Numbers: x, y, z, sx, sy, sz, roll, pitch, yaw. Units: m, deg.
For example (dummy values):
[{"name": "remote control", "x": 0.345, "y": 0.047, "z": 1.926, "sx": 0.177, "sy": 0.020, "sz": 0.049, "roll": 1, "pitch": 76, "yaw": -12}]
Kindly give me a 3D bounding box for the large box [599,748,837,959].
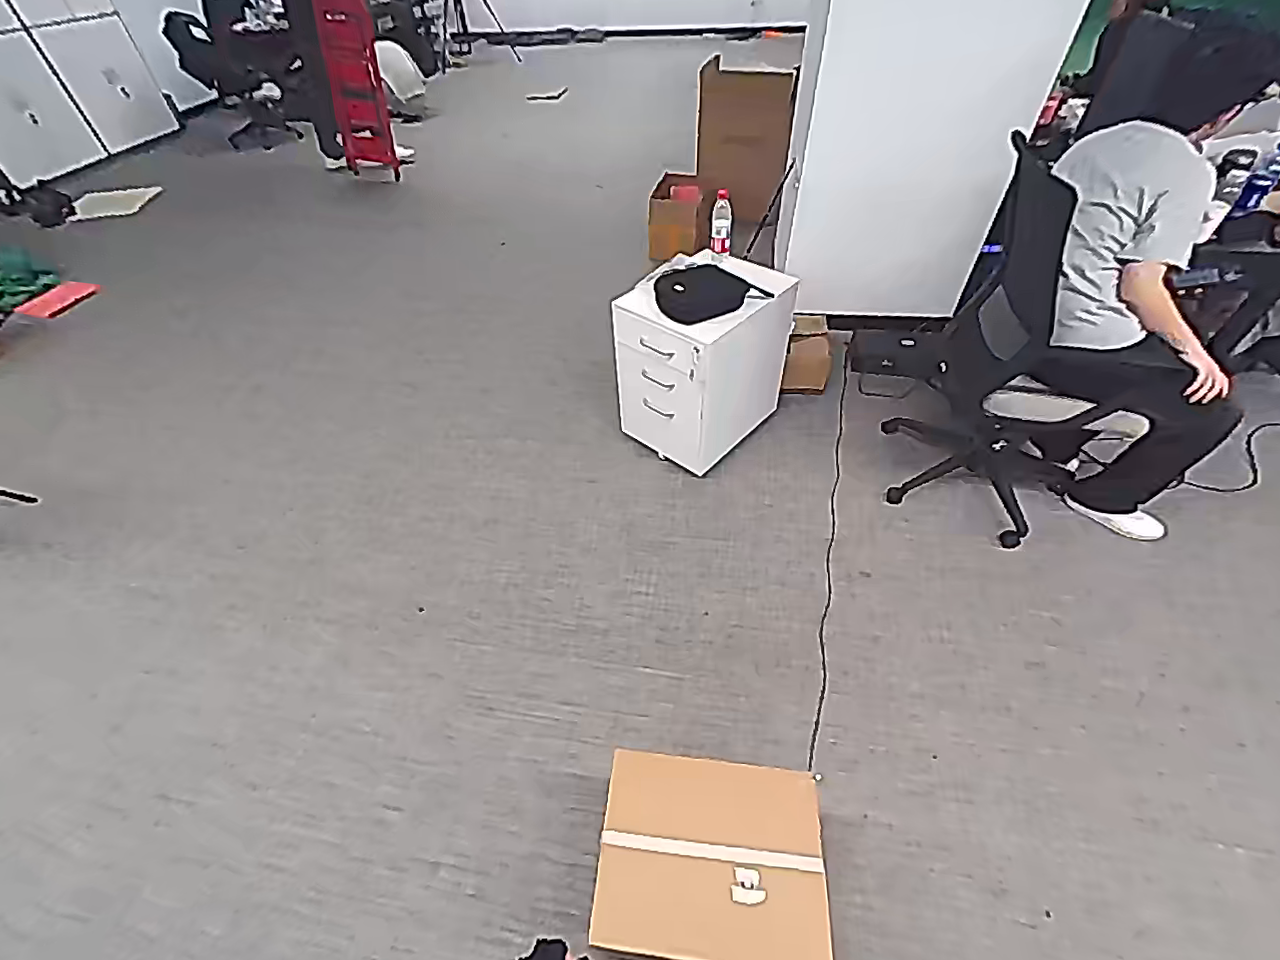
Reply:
[{"name": "large box", "x": 0.145, "y": 0.780, "z": 1.104, "sx": 0.408, "sy": 0.320, "sz": 0.320, "roll": 5, "pitch": 48, "yaw": 6}]
